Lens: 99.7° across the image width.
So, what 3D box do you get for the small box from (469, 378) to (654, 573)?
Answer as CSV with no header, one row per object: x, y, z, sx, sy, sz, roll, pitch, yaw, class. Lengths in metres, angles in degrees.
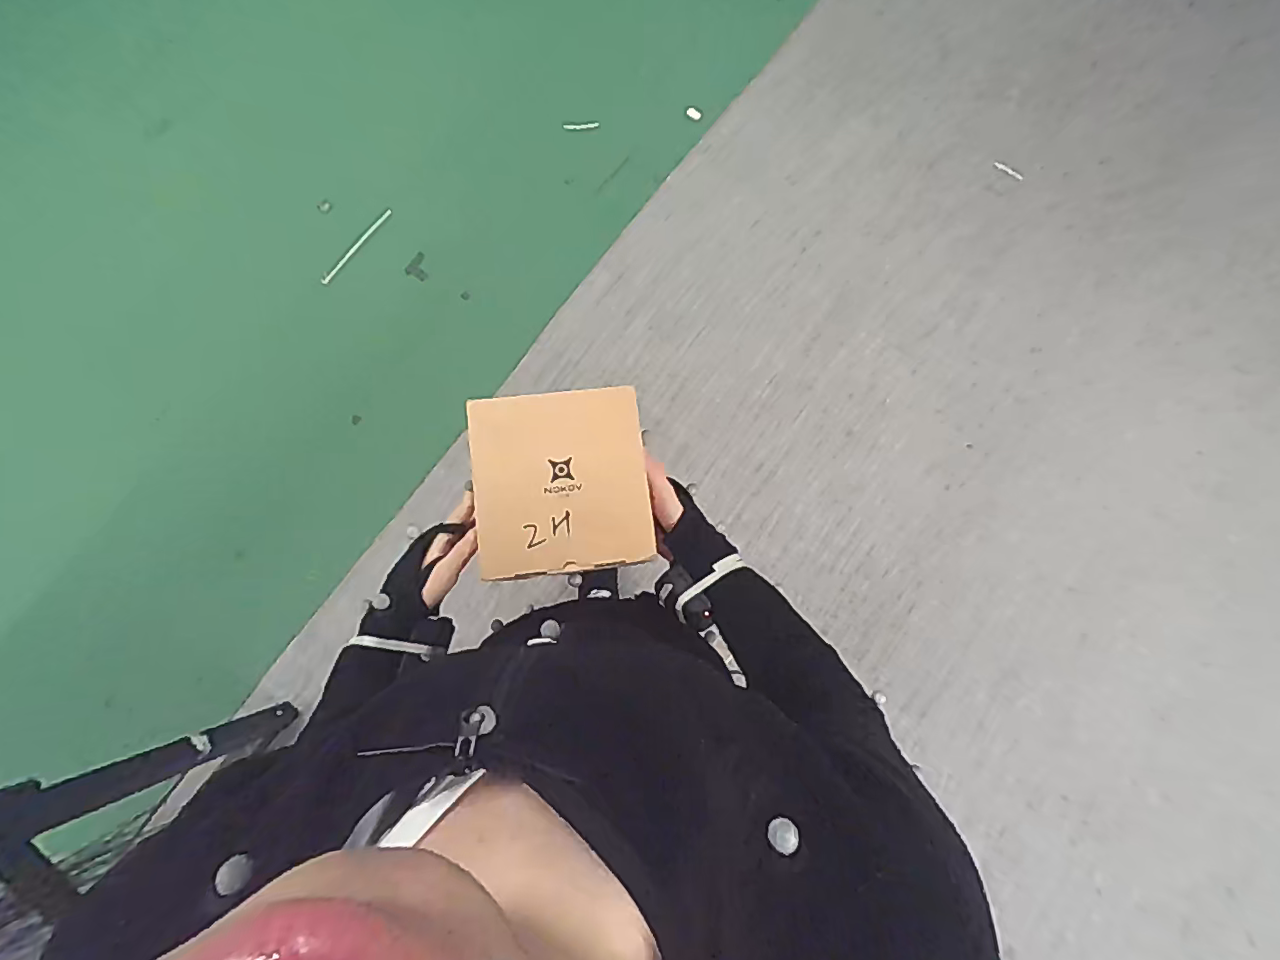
-0.084,0.005,0.588,0.168,0.176,0.179,-6,81,-6,small box
